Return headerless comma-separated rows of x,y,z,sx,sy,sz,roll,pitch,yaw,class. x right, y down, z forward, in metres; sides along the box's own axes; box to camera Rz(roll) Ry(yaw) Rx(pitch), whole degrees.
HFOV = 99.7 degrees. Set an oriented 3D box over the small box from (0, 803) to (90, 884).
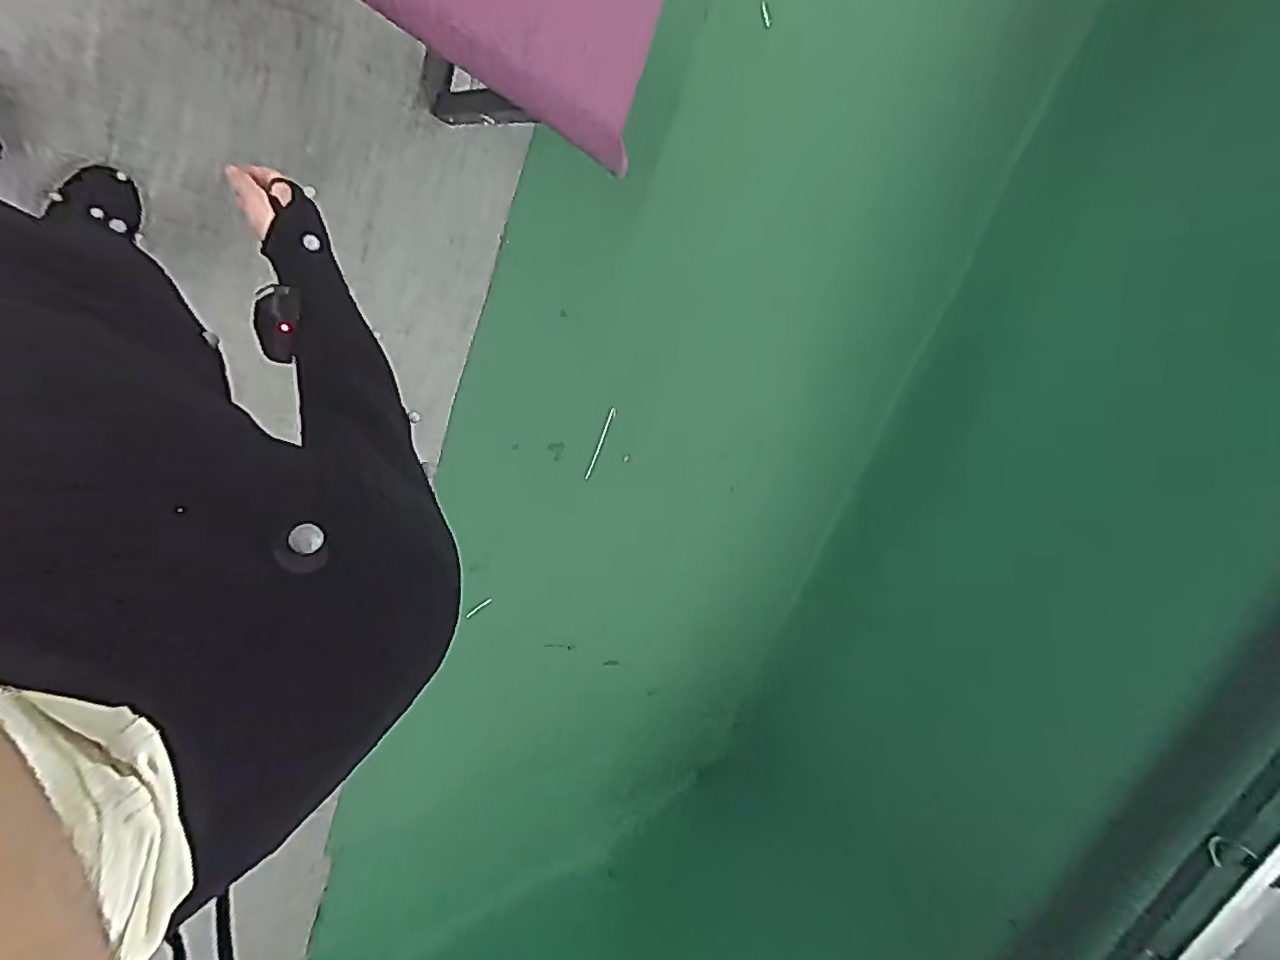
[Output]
-1.385,0.889,1.234,0.168,0.176,0.179,8,111,-47,small box
